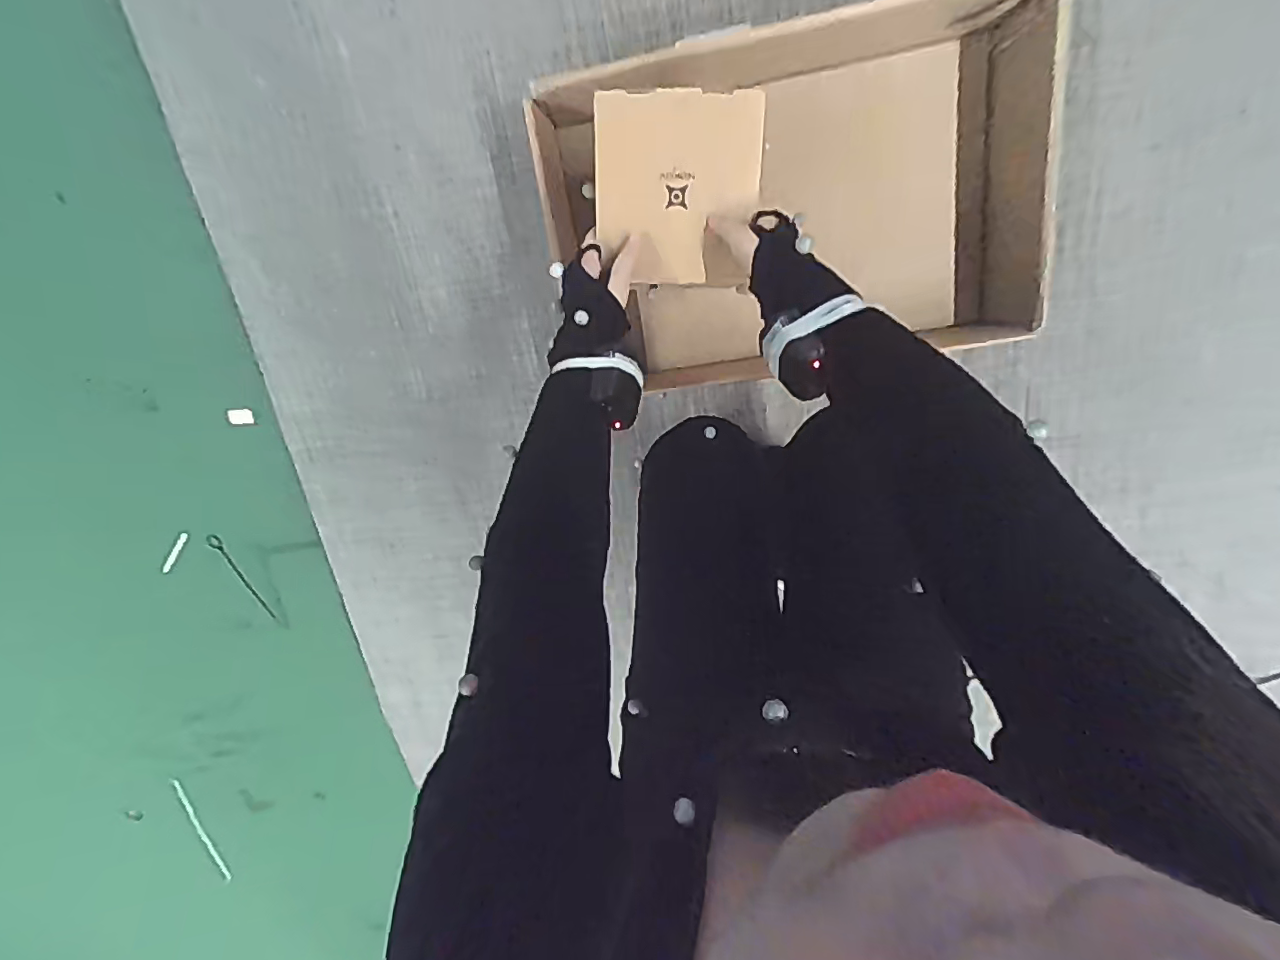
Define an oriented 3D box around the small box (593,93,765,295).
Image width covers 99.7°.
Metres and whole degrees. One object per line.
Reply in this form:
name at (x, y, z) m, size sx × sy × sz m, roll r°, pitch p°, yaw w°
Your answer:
small box at (0.038, -0.305, 0.612) m, size 0.168 × 0.176 × 0.179 m, roll 1°, pitch 106°, yaw 1°
